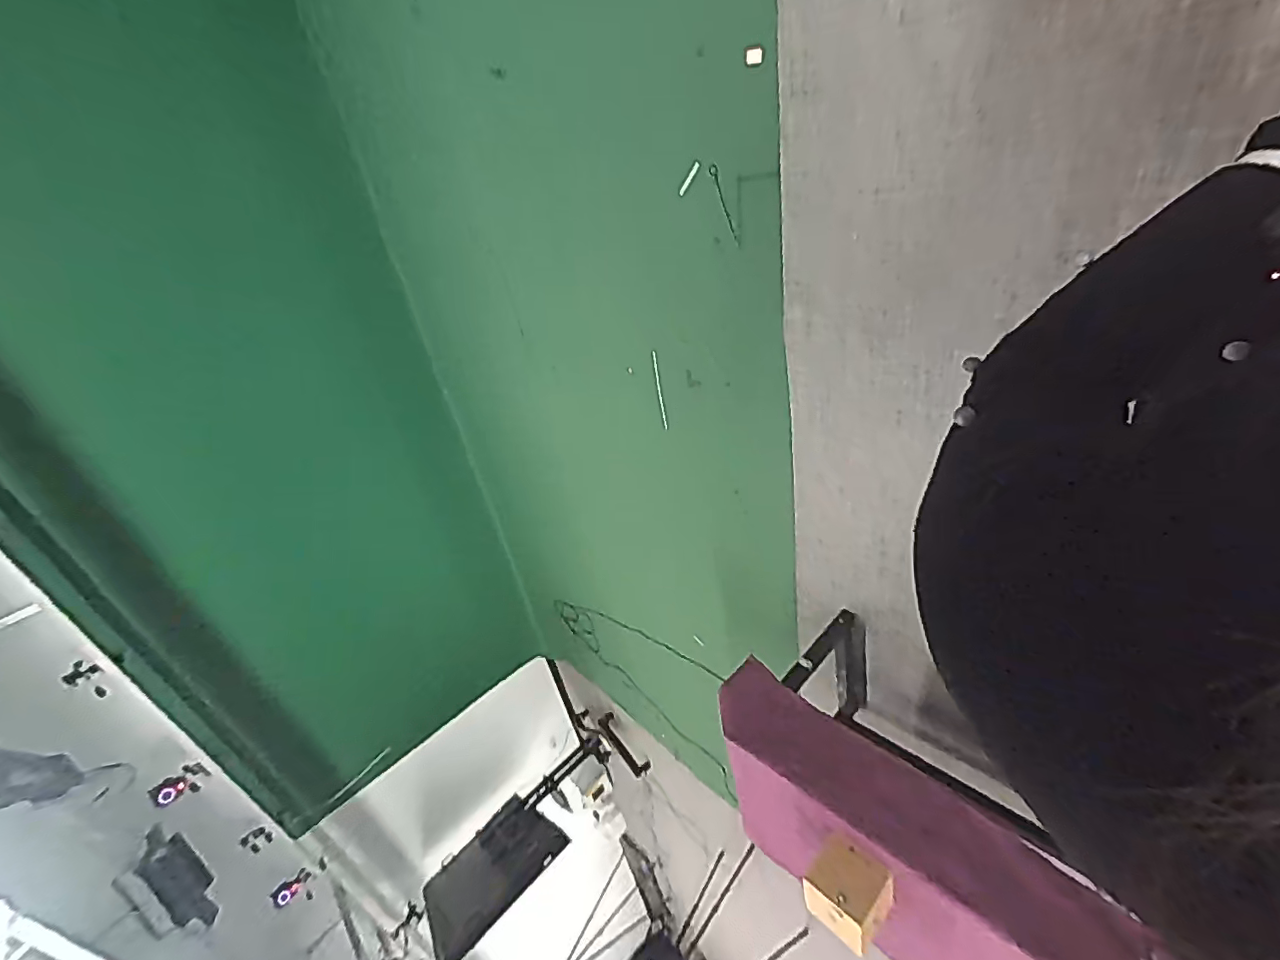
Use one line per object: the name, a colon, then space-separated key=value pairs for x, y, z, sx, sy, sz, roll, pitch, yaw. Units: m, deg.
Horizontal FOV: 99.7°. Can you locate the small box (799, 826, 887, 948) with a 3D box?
small box: x=0.556 y=1.101 z=1.473 sx=0.168 sy=0.176 sz=0.179 roll=18 pitch=132 yaw=44
